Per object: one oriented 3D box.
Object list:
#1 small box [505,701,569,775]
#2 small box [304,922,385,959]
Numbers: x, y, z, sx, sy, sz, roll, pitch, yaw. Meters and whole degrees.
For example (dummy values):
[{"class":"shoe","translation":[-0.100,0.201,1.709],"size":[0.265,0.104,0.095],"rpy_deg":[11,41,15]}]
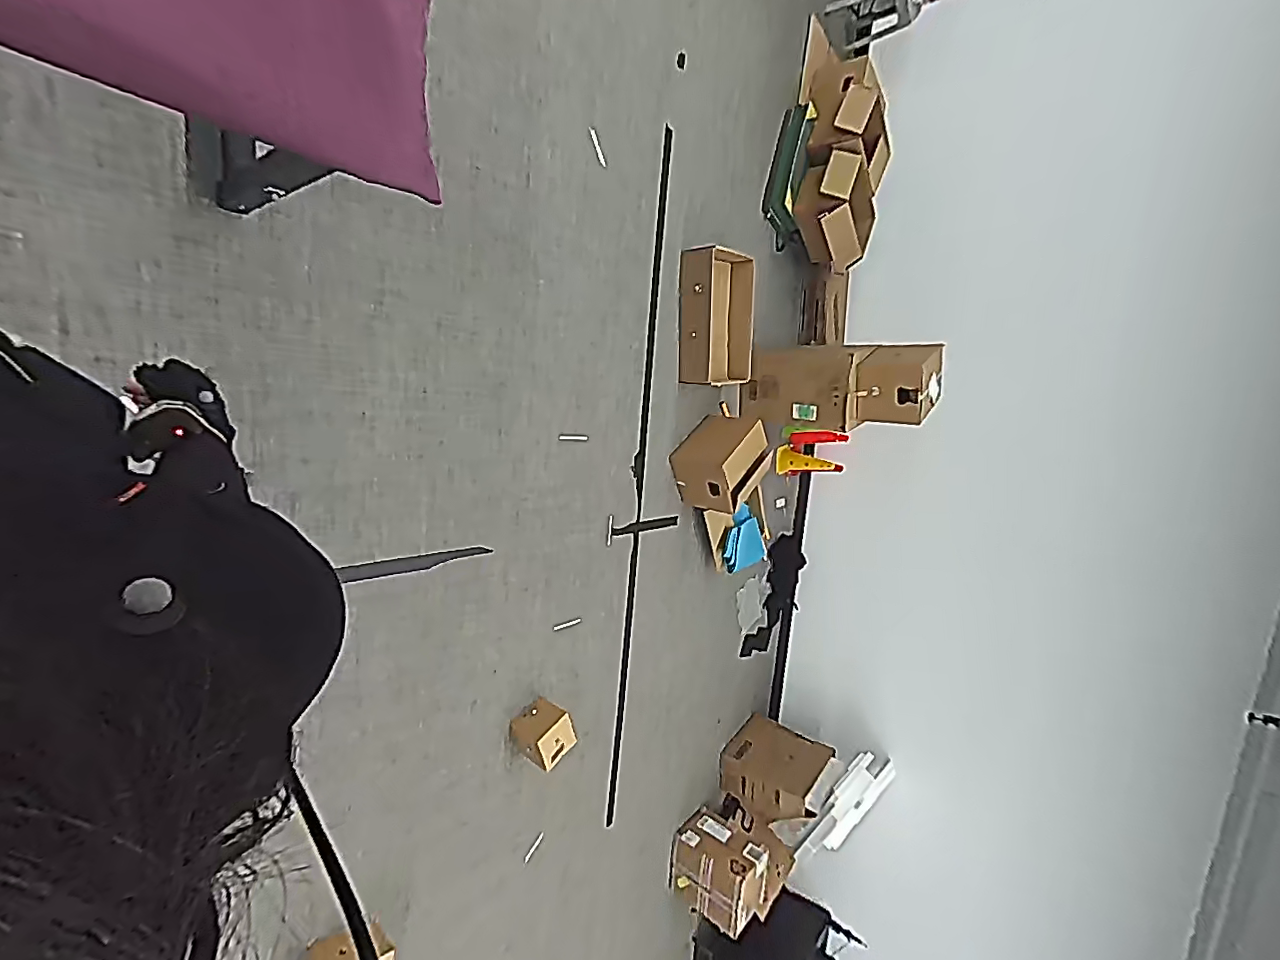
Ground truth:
[{"class":"small box","translation":[-0.412,1.023,2.160],"size":[0.168,0.176,0.179],"rpy_deg":[-35,124,-42]},{"class":"small box","translation":[-0.919,1.513,1.645],"size":[0.179,0.176,0.168],"rpy_deg":[16,88,-54]}]
